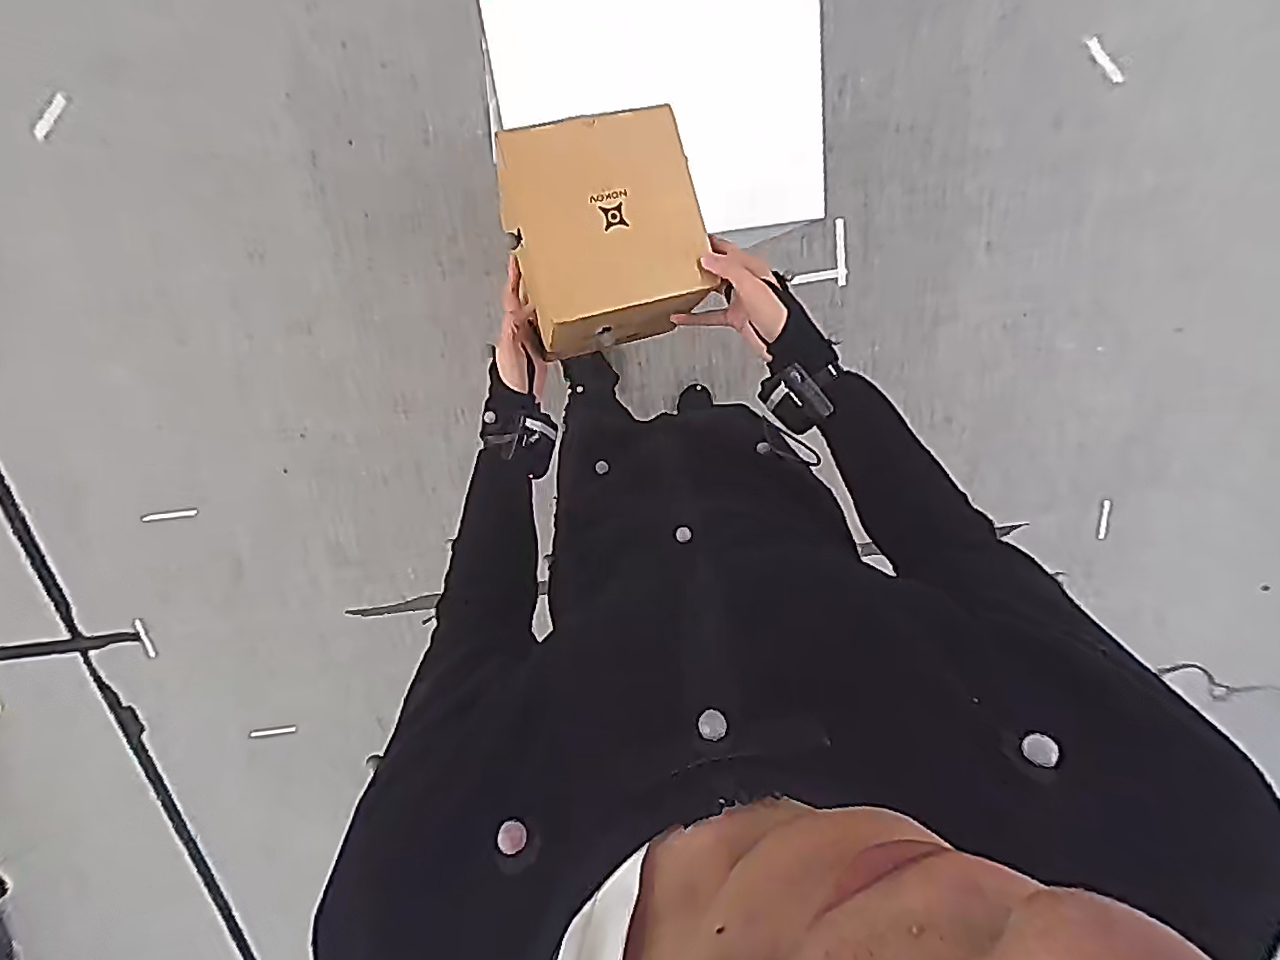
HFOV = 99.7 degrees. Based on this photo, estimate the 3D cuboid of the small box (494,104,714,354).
[{"bbox_3d":[-0.043,-0.242,0.566,0.168,0.176,0.179,-17,93,-11],"label":"small box"}]
